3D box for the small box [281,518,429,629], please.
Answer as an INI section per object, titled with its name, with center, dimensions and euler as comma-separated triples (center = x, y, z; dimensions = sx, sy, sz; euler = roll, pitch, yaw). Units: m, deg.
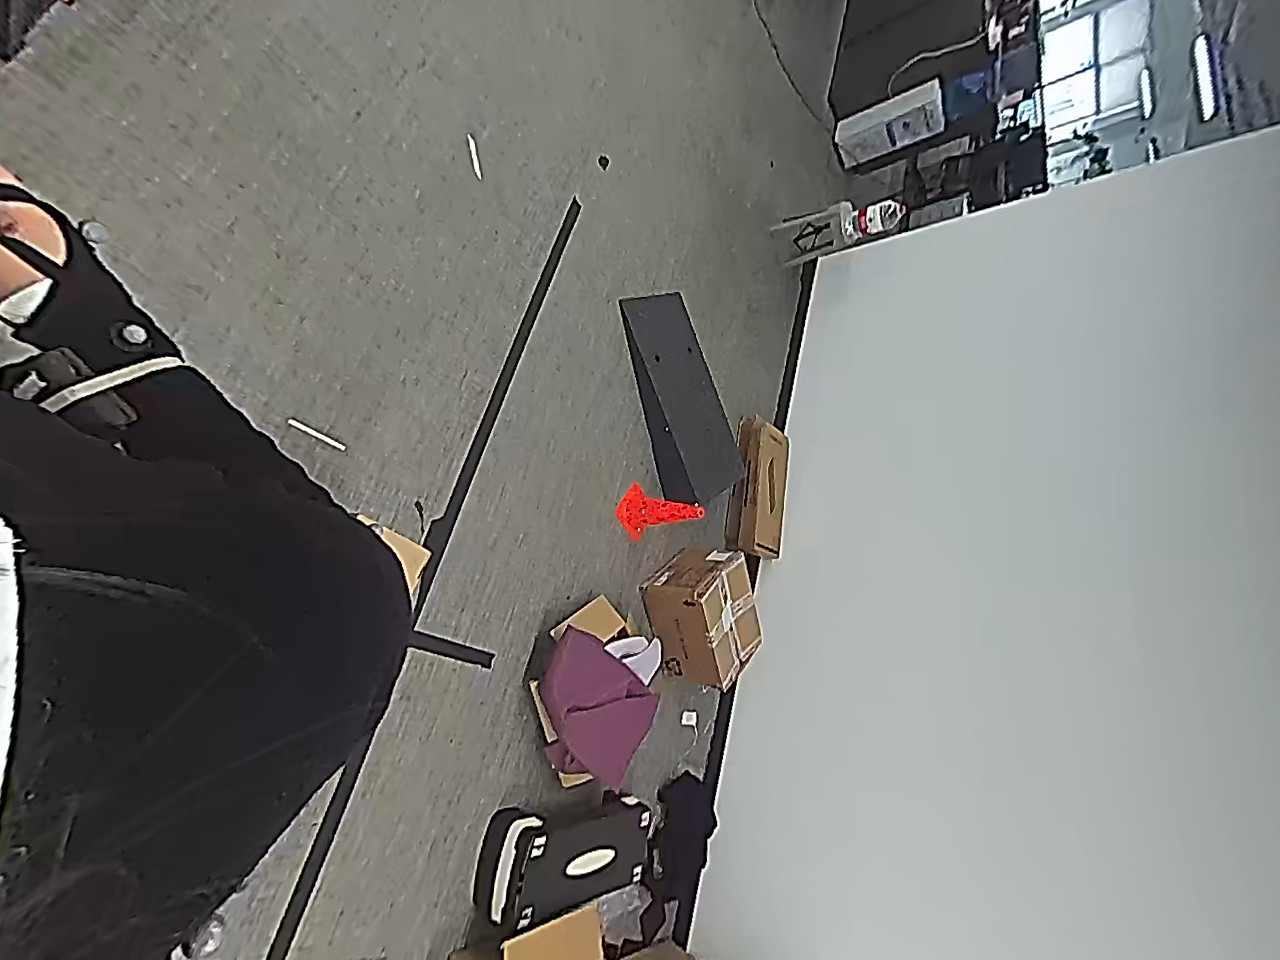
[small box]
center = -0.574, 0.184, 1.094
dimensions = 0.179, 0.176, 0.168
euler = 43, 56, -40
